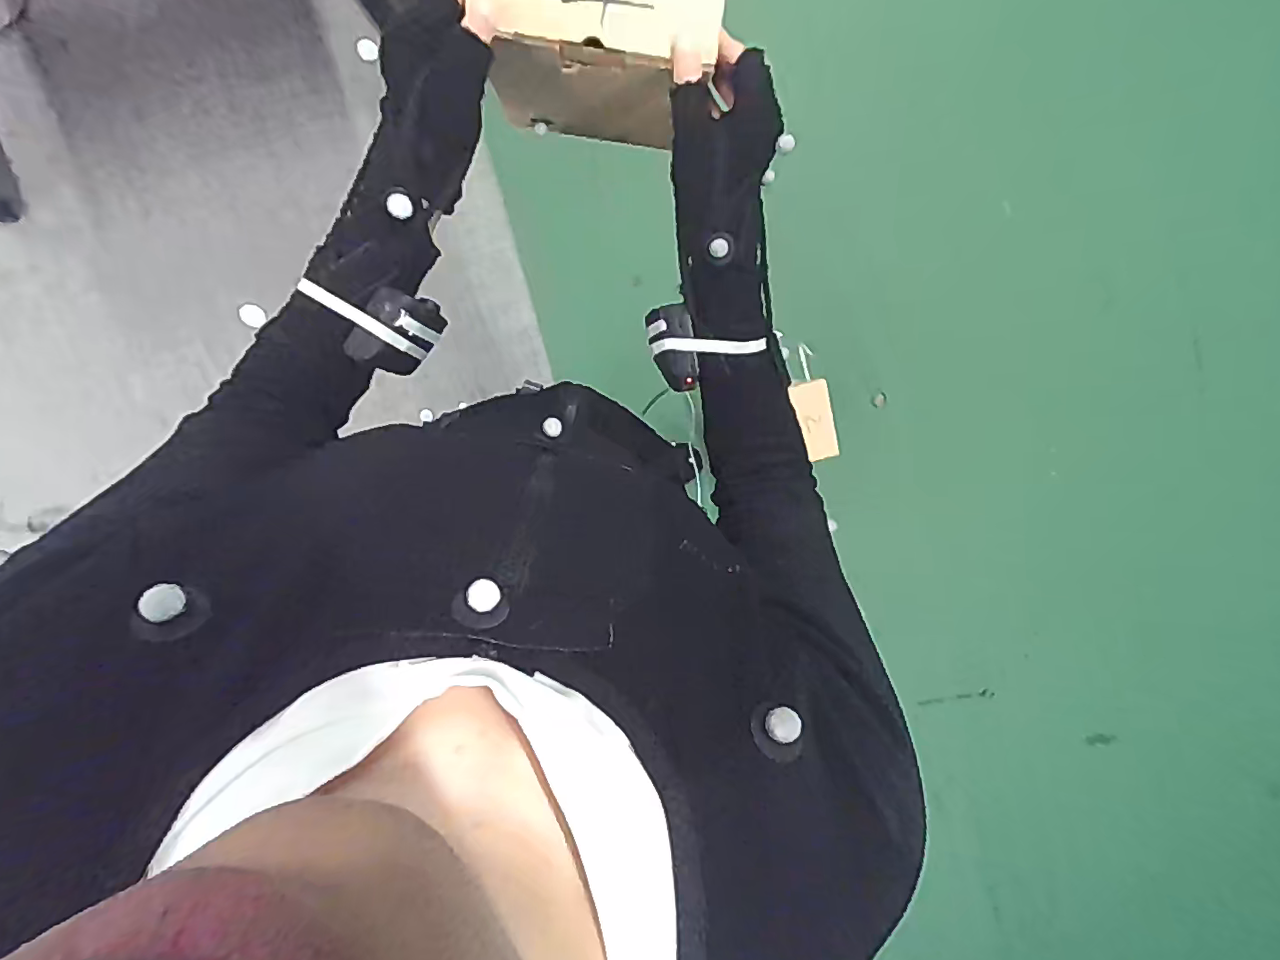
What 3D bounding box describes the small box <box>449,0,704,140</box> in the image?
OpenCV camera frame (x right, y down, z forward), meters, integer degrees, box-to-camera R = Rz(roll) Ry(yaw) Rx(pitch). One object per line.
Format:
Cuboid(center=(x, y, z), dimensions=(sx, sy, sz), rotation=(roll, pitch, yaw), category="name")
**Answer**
Cuboid(center=(-0.035, -0.388, 0.409), dimensions=(0.168, 0.176, 0.179), rotation=(6, 104, -5), category="small box")
